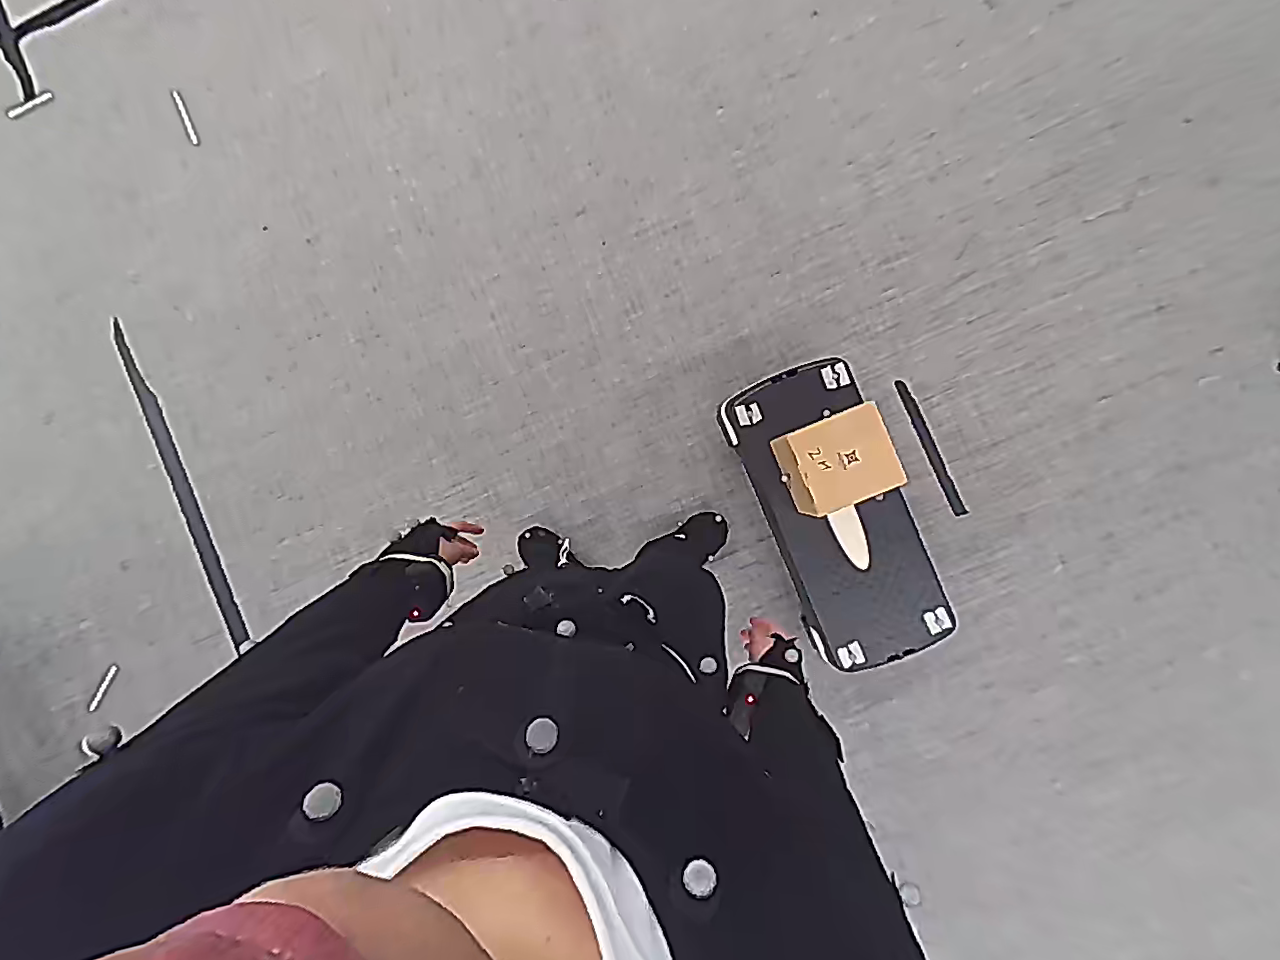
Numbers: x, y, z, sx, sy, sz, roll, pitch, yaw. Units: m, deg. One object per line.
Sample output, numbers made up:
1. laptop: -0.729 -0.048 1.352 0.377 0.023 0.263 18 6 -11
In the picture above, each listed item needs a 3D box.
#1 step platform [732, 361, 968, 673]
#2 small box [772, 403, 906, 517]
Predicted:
1. step platform: 0.464 0.079 1.242 0.286 0.204 0.684 -23 88 3
2. small box: 0.384 -0.038 1.073 0.179 0.176 0.168 -22 88 3
